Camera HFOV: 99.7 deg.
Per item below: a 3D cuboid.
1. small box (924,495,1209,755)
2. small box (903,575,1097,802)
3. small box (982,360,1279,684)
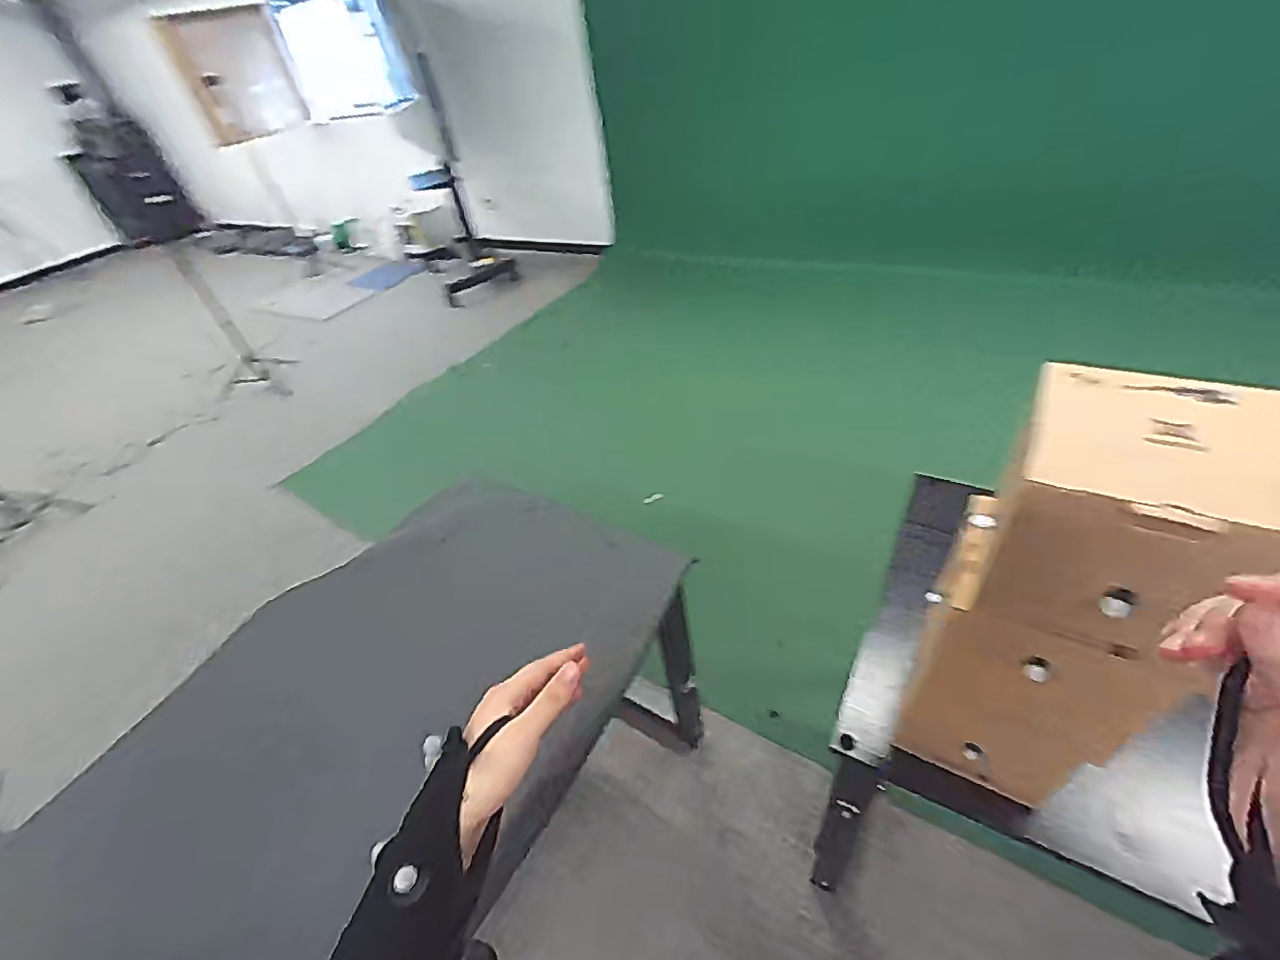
[{"bbox_3d":[0.415,0.148,0.552,0.179,0.176,0.168,17,48,28],"label":"small box"},{"bbox_3d":[0.441,0.256,0.670,0.168,0.176,0.179,17,48,27],"label":"small box"},{"bbox_3d":[0.399,0.029,0.439,0.168,0.176,0.179,18,49,29],"label":"small box"}]
